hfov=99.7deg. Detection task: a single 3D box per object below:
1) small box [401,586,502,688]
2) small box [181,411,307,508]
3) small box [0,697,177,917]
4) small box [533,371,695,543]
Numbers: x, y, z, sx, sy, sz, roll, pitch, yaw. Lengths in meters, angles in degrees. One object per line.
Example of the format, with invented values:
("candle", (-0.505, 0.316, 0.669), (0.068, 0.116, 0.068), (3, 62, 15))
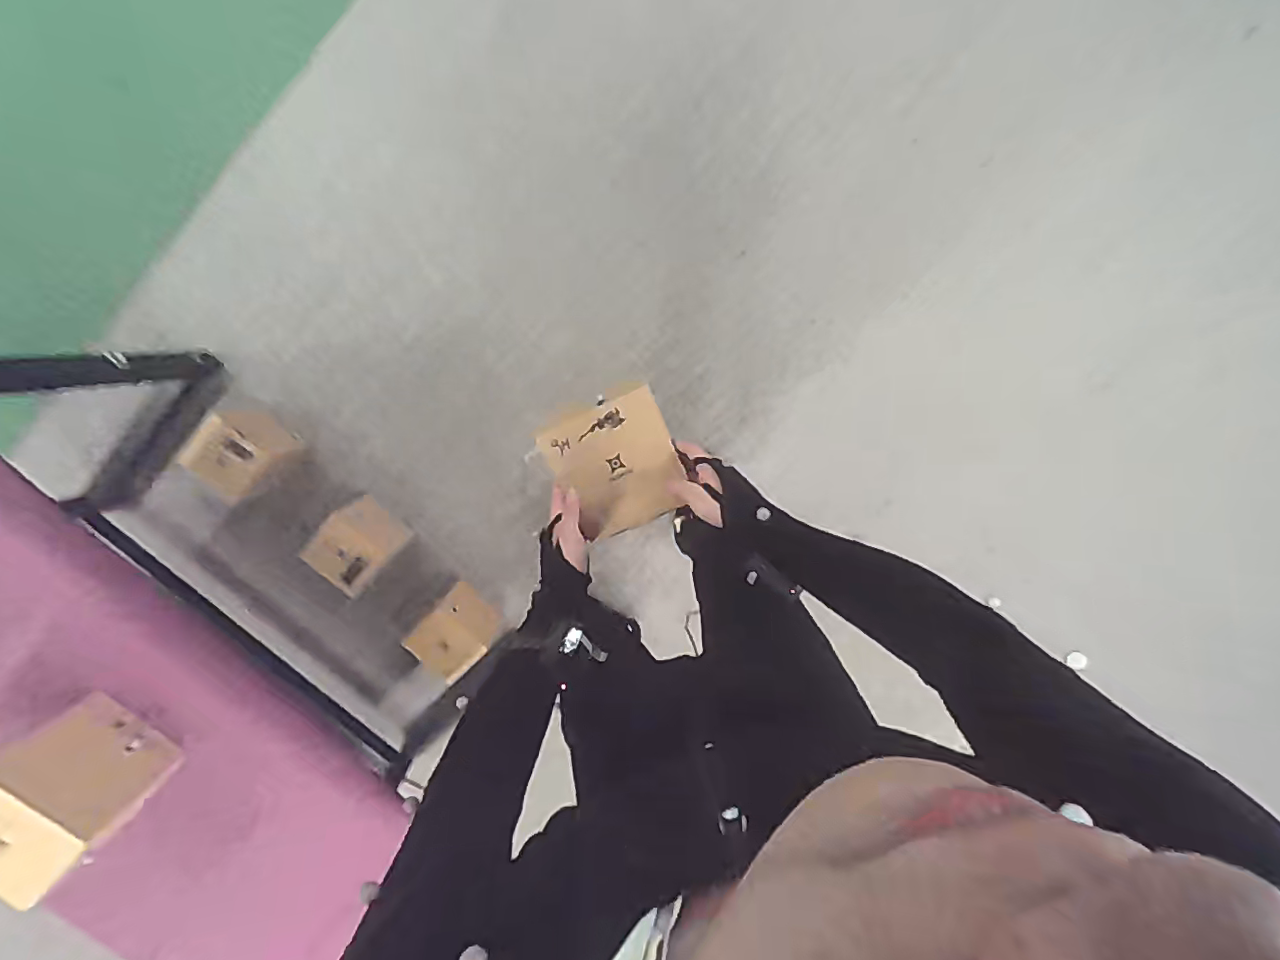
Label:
("small box", (-0.515, 0.430, 1.509), (0.168, 0.176, 0.179), (-43, 98, 11))
("small box", (-1.015, -0.062, 1.406), (0.168, 0.176, 0.179), (43, 103, -7))
("small box", (-0.838, 0.460, 0.781), (0.168, 0.176, 0.179), (44, 101, -9))
("small box", (-0.033, -0.041, 0.784), (0.168, 0.176, 0.179), (-23, 107, 5))
